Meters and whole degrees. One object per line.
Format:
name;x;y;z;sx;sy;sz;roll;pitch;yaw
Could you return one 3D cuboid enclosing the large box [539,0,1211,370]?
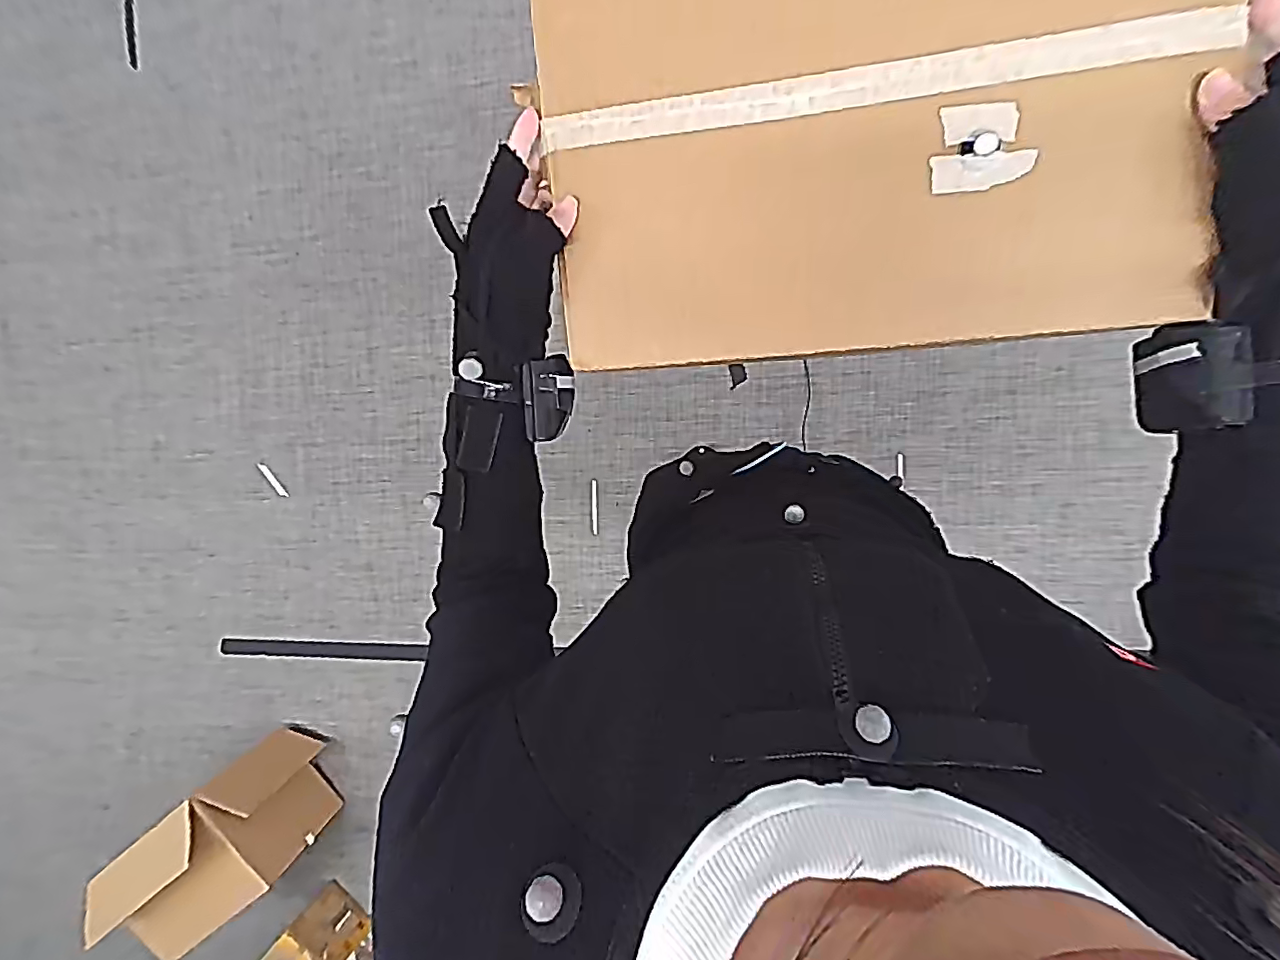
large box;0.154;-0.276;0.491;0.408;0.320;0.320;-3;102;8
